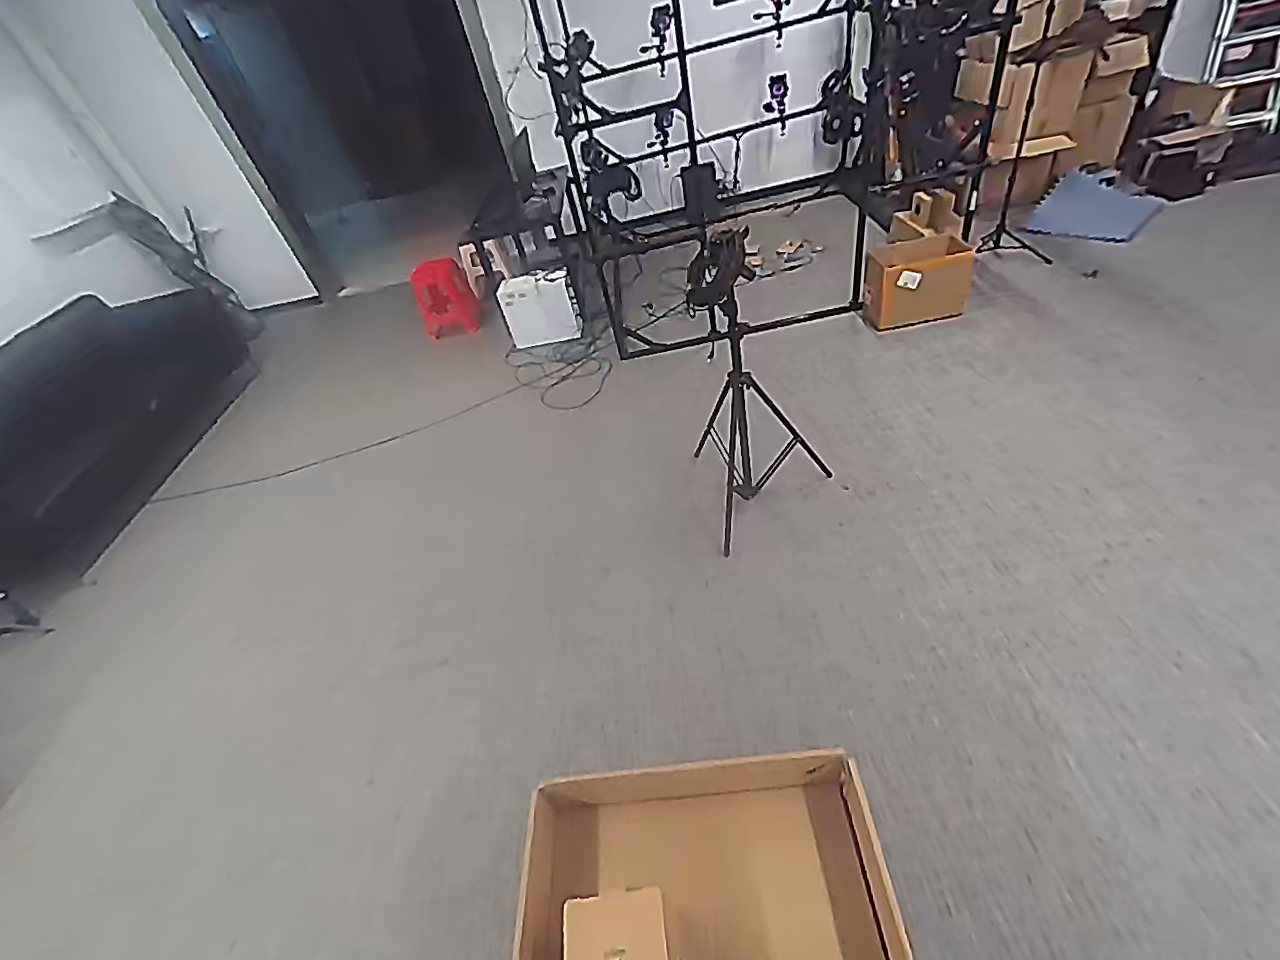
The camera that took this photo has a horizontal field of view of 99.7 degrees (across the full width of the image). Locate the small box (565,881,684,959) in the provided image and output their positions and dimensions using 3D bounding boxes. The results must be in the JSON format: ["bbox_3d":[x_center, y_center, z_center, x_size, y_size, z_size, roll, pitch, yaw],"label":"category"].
[{"bbox_3d":[-0.021,0.791,0.880,0.168,0.176,0.179,-13,41,4],"label":"small box"}]
